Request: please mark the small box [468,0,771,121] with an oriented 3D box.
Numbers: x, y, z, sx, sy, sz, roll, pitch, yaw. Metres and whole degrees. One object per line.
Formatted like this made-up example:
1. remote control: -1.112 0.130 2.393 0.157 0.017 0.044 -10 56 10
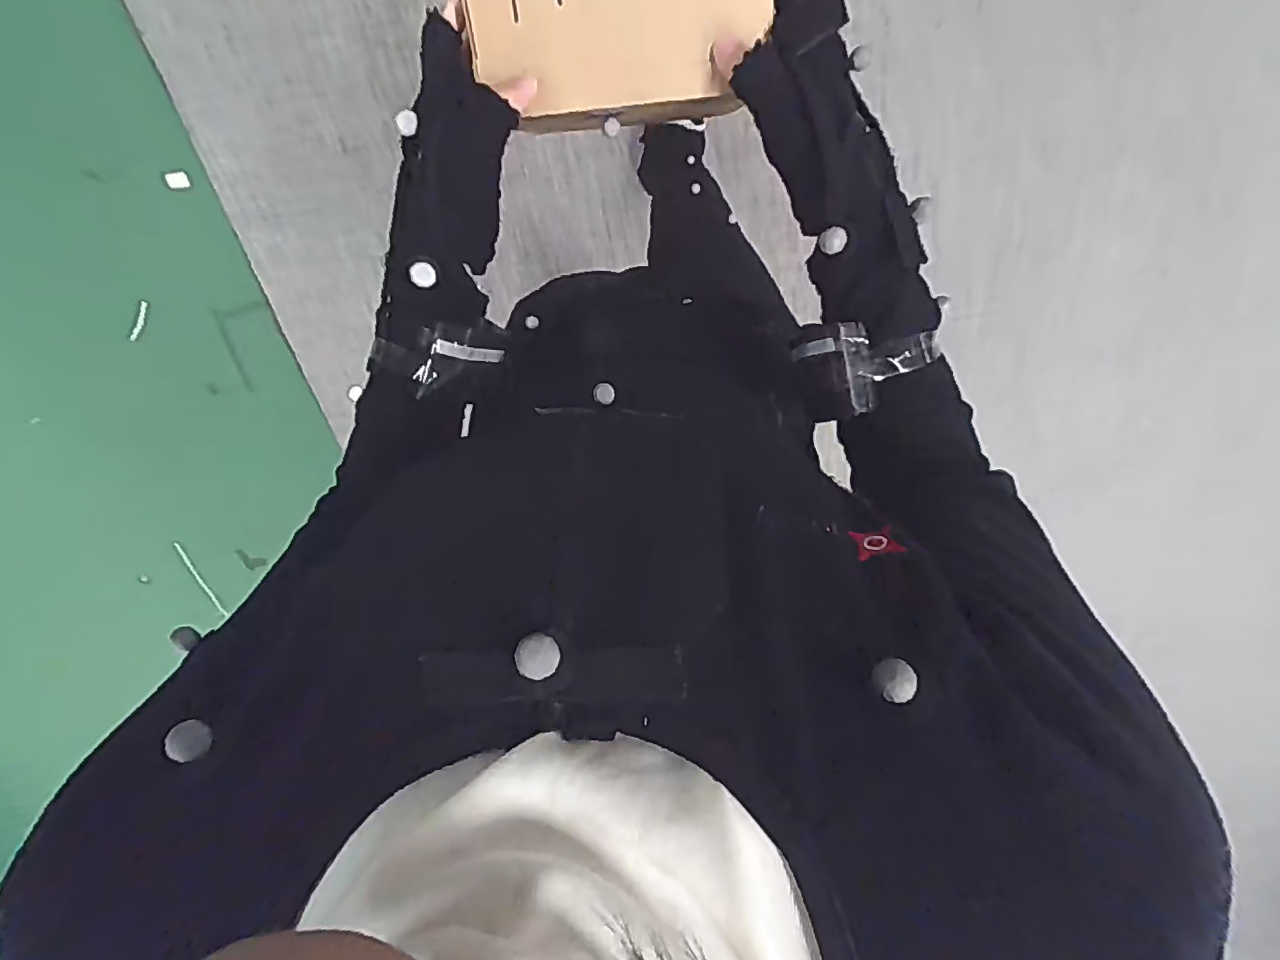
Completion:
1. small box: -0.014 -0.348 0.359 0.179 0.176 0.168 -4 120 2
